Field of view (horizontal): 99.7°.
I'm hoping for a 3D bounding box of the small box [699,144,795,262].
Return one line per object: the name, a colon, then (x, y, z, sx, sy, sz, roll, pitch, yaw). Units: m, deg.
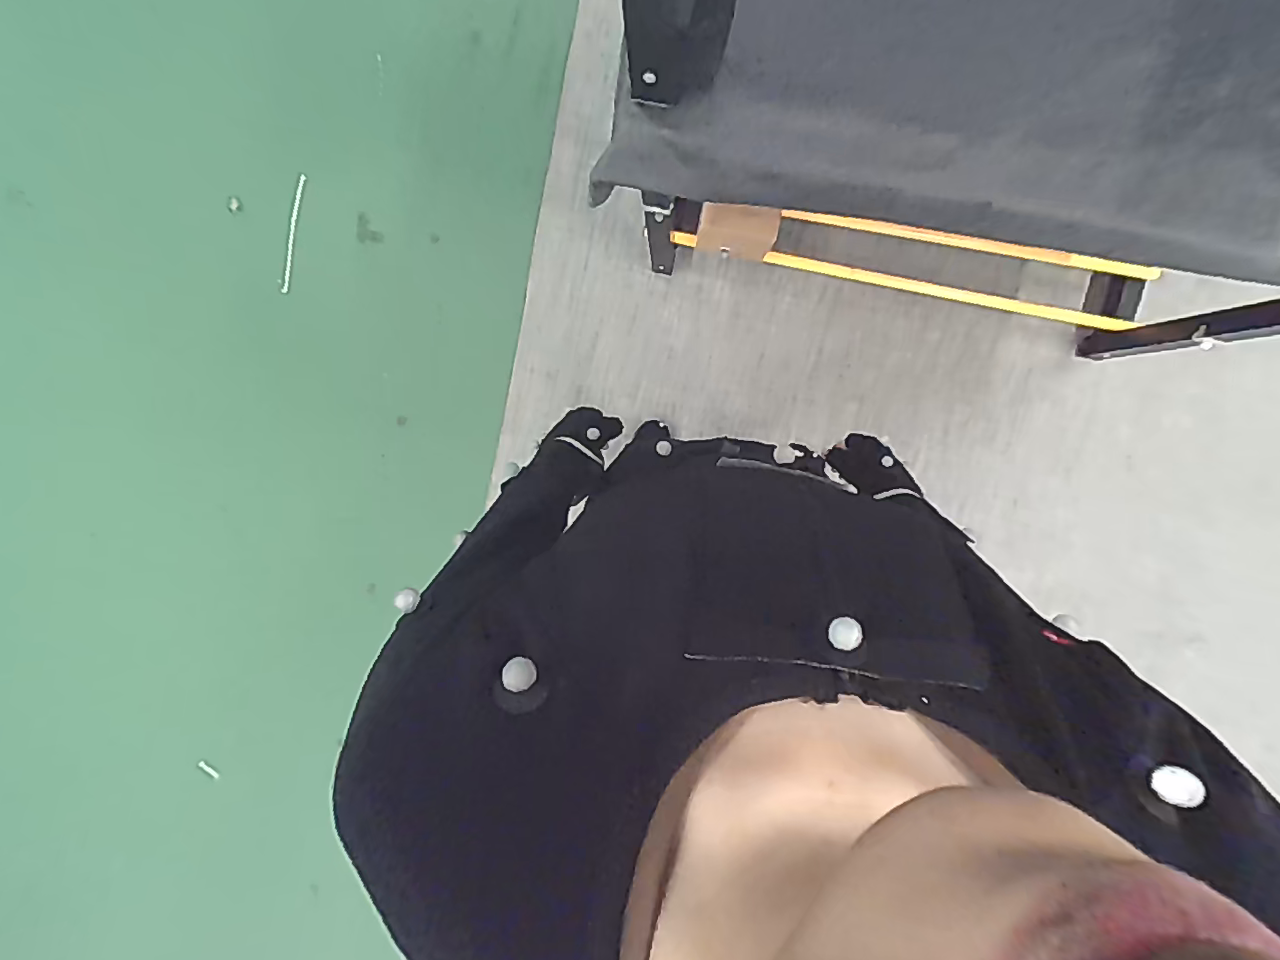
small box: (0.231, -0.614, 1.217, 0.168, 0.176, 0.179, 11, 98, 1)
